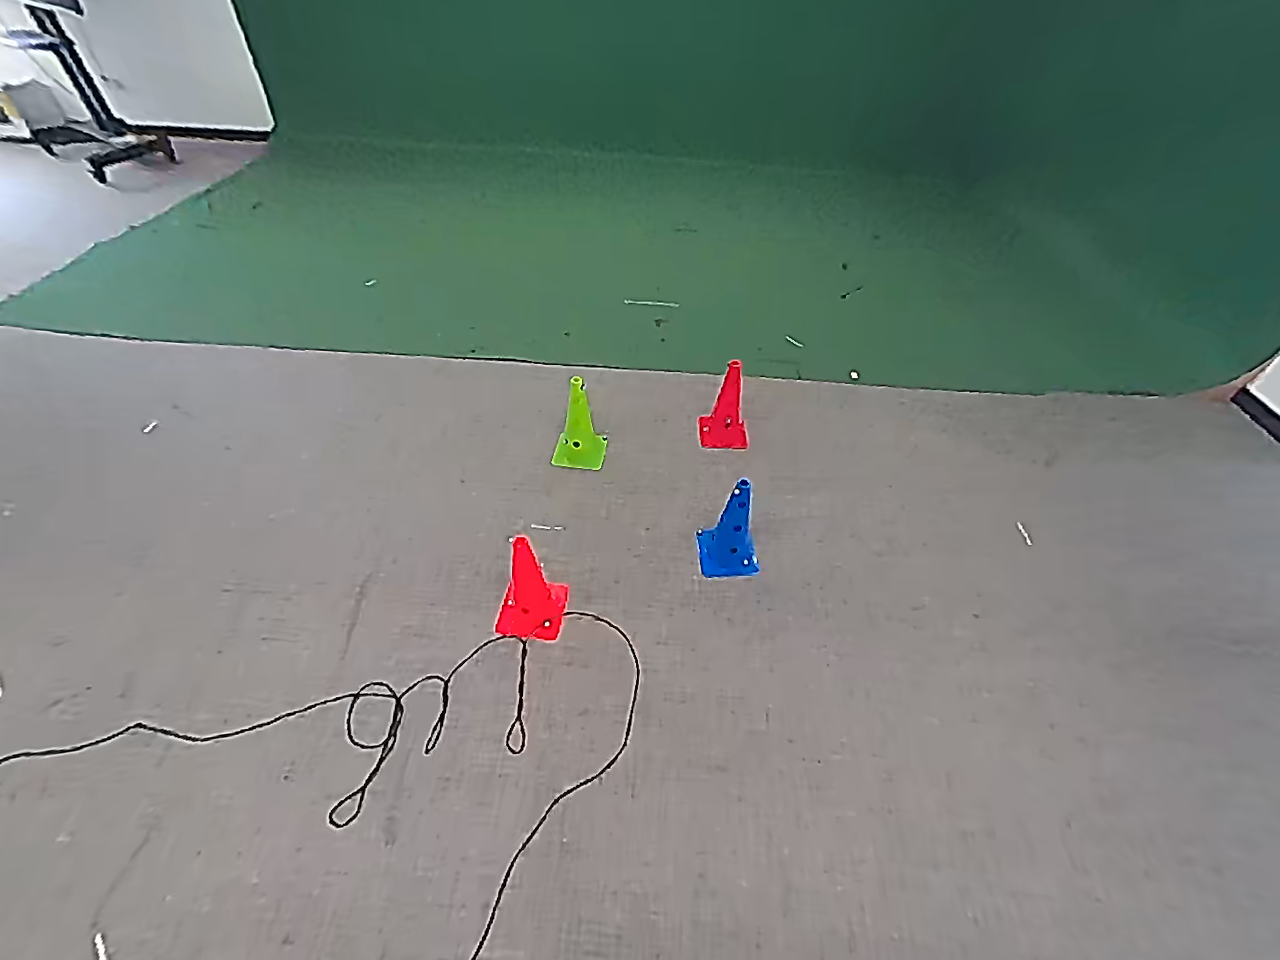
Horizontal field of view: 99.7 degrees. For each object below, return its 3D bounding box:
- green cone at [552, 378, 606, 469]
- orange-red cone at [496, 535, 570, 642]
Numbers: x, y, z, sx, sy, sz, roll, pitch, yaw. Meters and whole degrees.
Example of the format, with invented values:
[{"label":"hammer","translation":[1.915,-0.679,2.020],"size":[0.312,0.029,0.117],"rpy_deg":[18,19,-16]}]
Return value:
[{"label":"green cone","translation":[-0.243,-0.239,2.077],"size":[0.200,0.368,0.202],"rpy_deg":[5,47,3]},{"label":"orange-red cone","translation":[-0.325,0.285,1.574],"size":[0.198,0.360,0.199],"rpy_deg":[8,45,4]}]
